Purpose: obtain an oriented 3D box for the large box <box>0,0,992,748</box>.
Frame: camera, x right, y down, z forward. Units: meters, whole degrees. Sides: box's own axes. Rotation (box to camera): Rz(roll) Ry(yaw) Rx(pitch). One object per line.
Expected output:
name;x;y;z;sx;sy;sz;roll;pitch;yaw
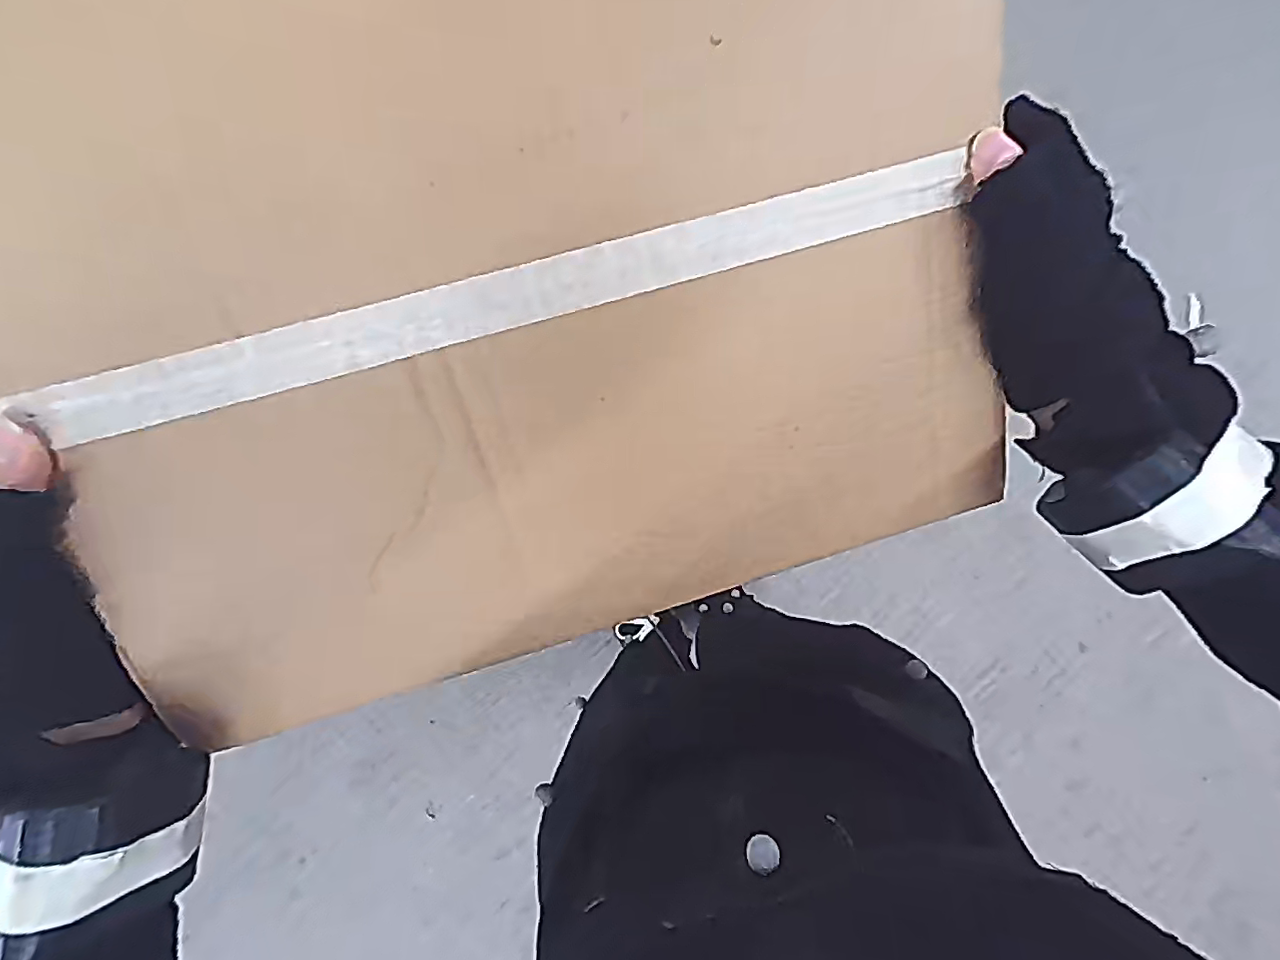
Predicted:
large box;-0.064;-0.113;0.357;0.408;0.320;0.320;-16;111;-5
